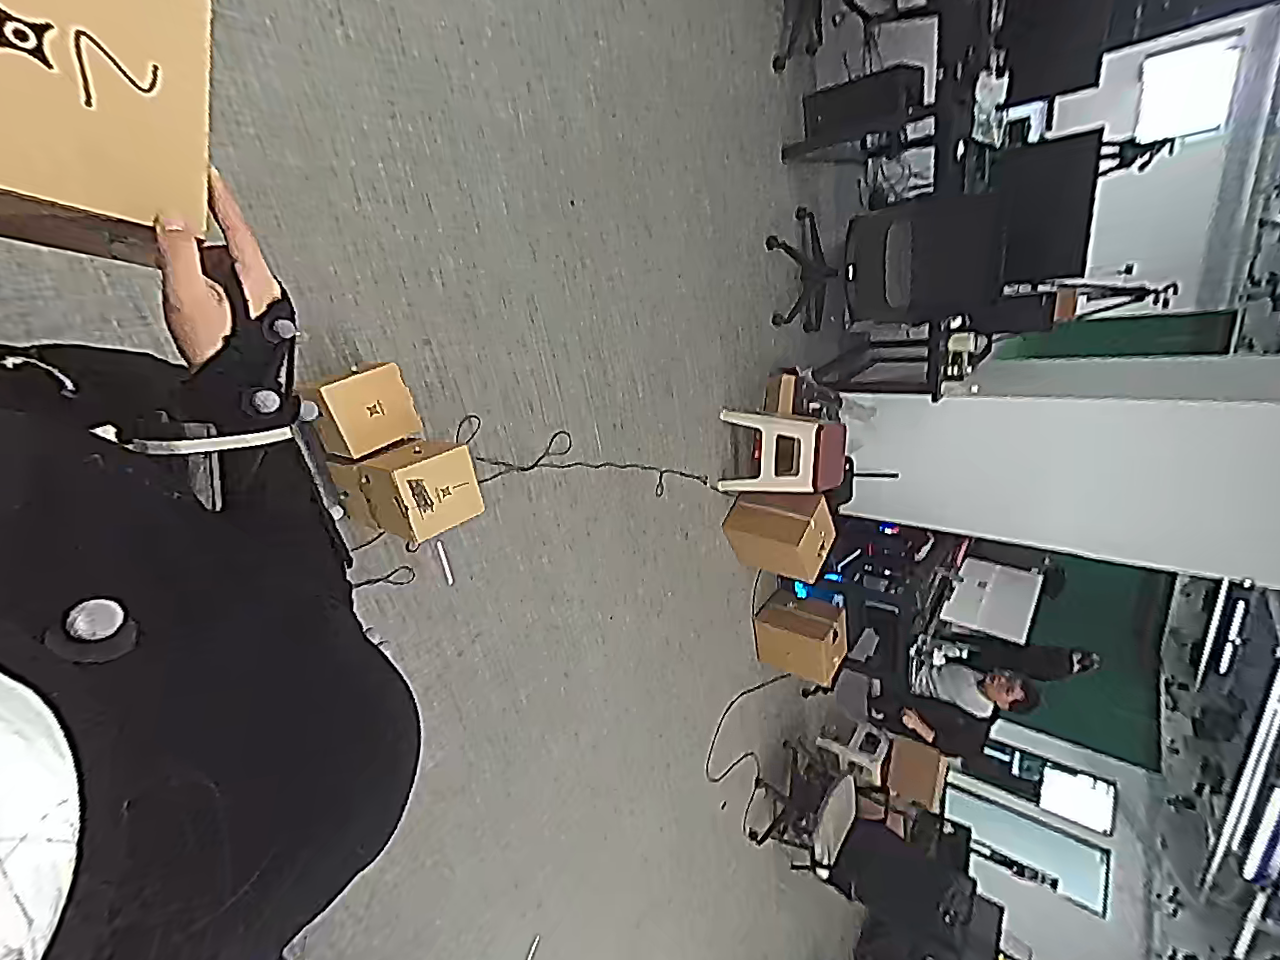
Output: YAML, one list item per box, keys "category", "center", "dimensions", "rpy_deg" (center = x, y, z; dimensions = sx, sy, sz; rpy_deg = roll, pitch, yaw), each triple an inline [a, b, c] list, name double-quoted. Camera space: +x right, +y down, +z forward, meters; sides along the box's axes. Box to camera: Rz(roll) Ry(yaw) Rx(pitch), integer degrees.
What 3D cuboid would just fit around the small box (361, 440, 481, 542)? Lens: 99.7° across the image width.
- category: "small box"
  center: [-0.490, 0.017, 1.198]
  dimensions: [0.179, 0.176, 0.168]
  rpy_deg: [-30, 119, -44]
